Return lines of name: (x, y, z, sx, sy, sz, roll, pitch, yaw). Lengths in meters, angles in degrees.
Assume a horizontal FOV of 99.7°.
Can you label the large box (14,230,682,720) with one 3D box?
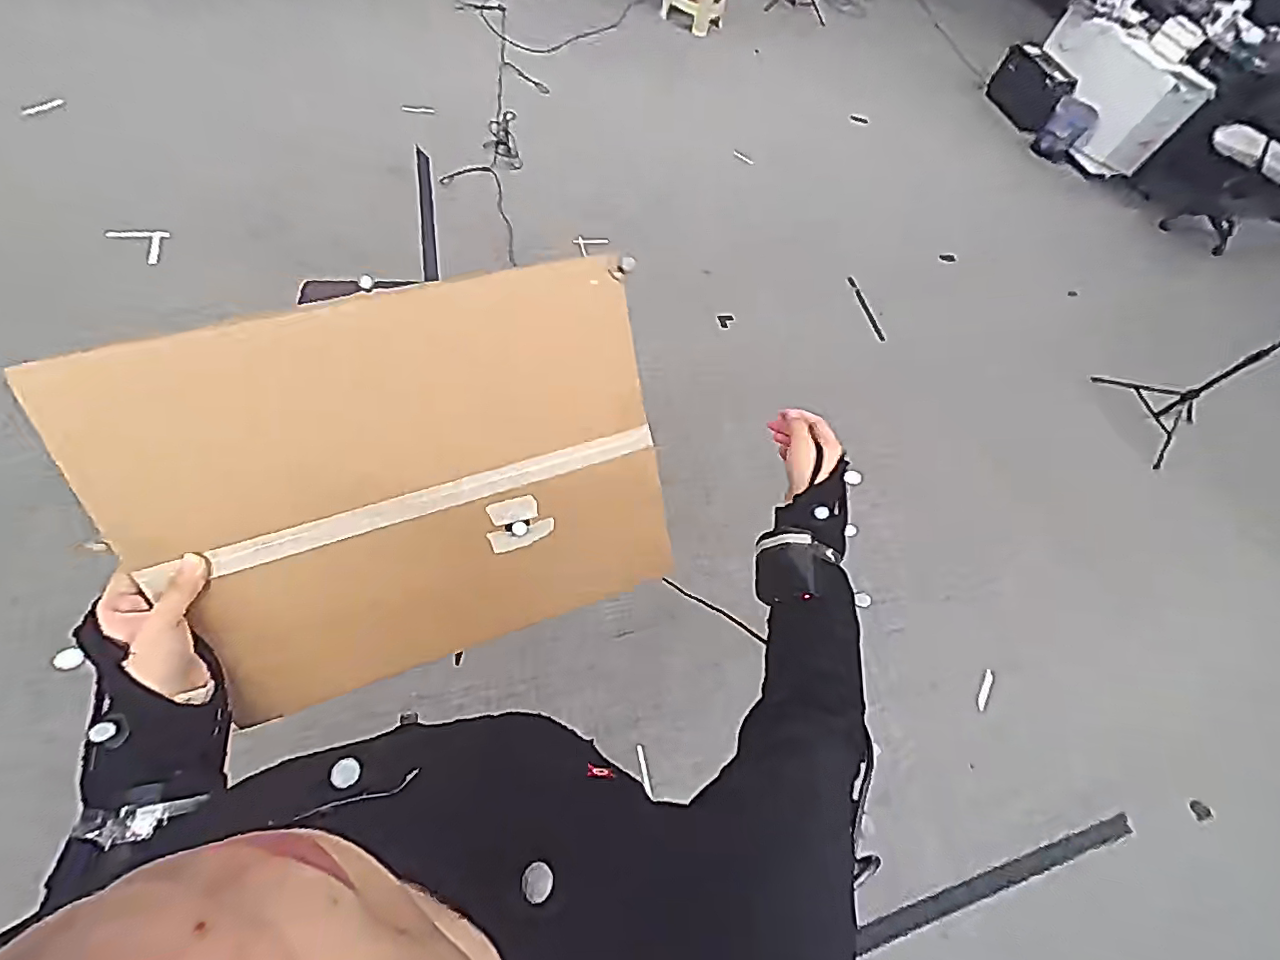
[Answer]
large box: (-0.218, -0.046, 0.558, 0.408, 0.320, 0.320, -18, 26, -15)
